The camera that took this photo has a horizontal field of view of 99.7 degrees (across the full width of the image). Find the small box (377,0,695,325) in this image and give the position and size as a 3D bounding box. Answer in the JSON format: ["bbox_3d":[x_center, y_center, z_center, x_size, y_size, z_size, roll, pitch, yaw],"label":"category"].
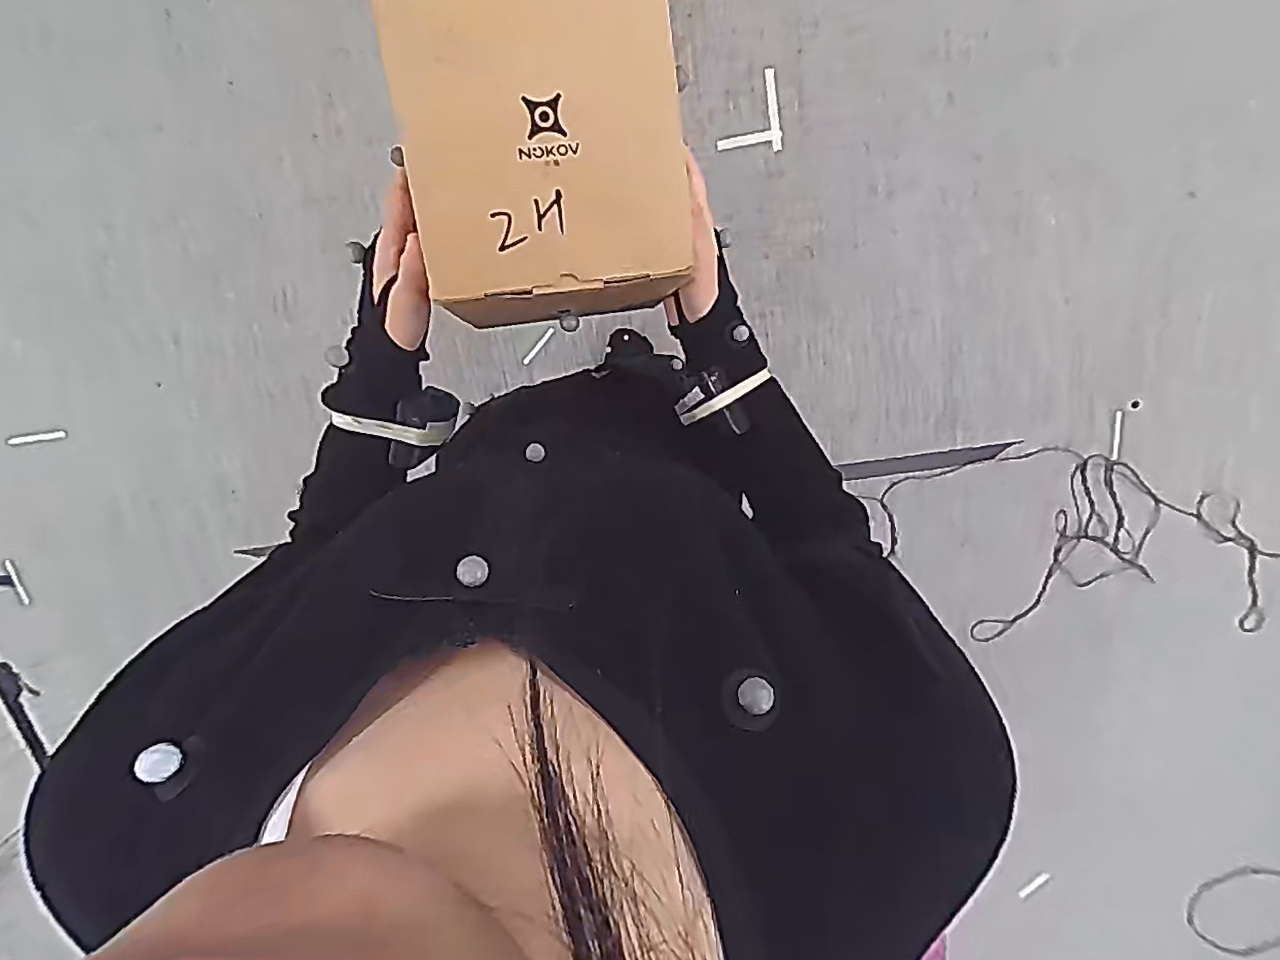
[{"bbox_3d":[-0.066,-0.220,0.394,0.168,0.176,0.179,-9,101,-6],"label":"small box"}]
